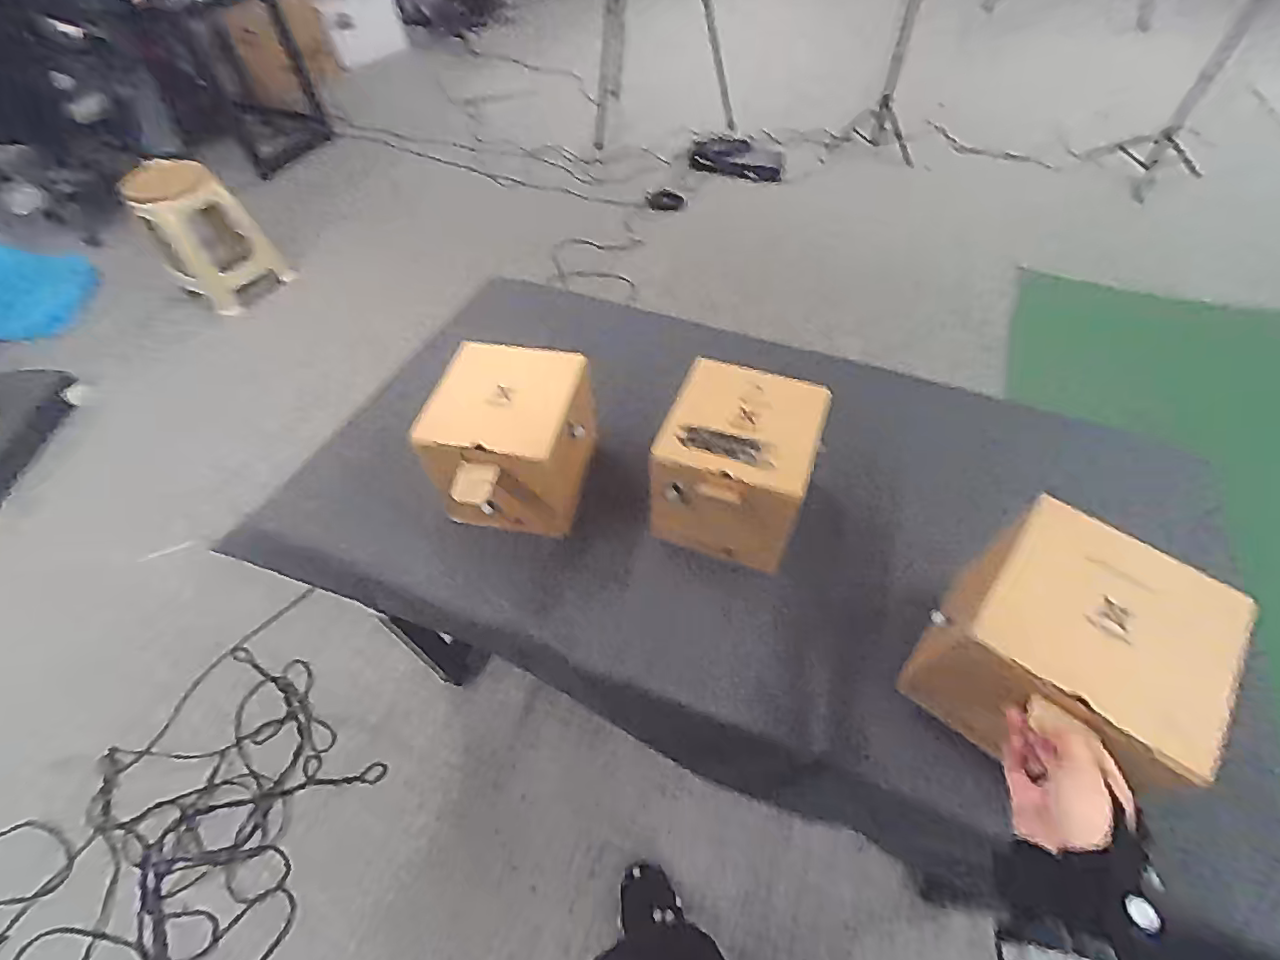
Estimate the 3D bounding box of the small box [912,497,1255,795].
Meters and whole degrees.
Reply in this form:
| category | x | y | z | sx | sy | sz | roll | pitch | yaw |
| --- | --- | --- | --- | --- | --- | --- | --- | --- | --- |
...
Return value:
| category | x | y | z | sx | sy | sz | roll | pitch | yaw |
| --- | --- | --- | --- | --- | --- | --- | --- | --- | --- |
| small box | 0.383 | 0.156 | 0.499 | 0.168 | 0.176 | 0.179 | 35 | 62 | 23 |

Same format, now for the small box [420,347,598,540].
| category | x | y | z | sx | sy | sz | roll | pitch | yaw |
| --- | --- | --- | --- | --- | --- | --- | --- | --- | --- |
| small box | -0.155 | -0.047 | 0.714 | 0.168 | 0.176 | 0.179 | 8 | 54 | 7 |
